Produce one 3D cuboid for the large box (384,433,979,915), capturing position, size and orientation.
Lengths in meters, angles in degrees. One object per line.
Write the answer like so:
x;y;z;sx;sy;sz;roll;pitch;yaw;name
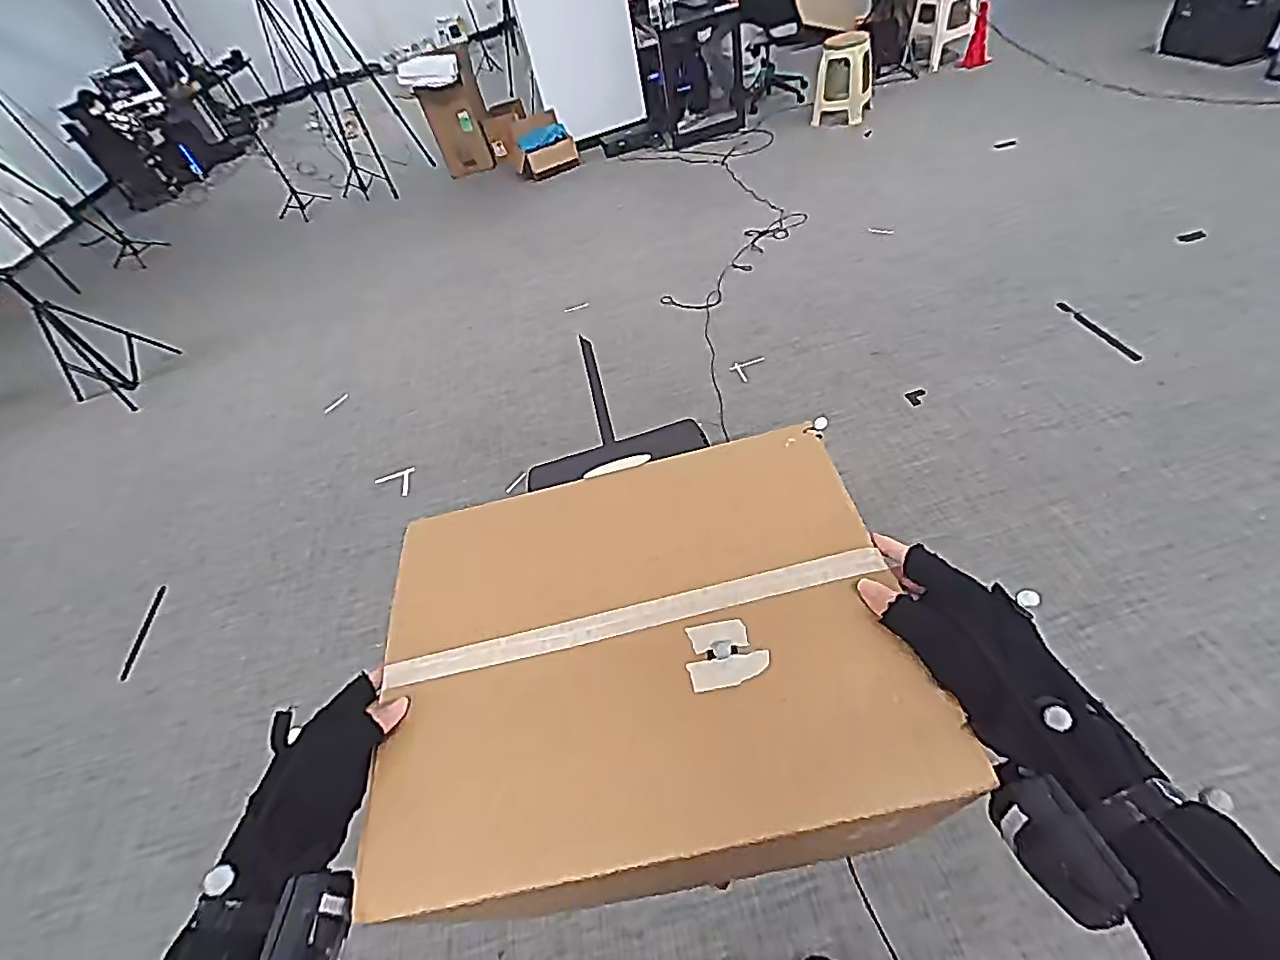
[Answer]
0.025;0.208;0.552;0.408;0.320;0.320;-14;50;2;large box
